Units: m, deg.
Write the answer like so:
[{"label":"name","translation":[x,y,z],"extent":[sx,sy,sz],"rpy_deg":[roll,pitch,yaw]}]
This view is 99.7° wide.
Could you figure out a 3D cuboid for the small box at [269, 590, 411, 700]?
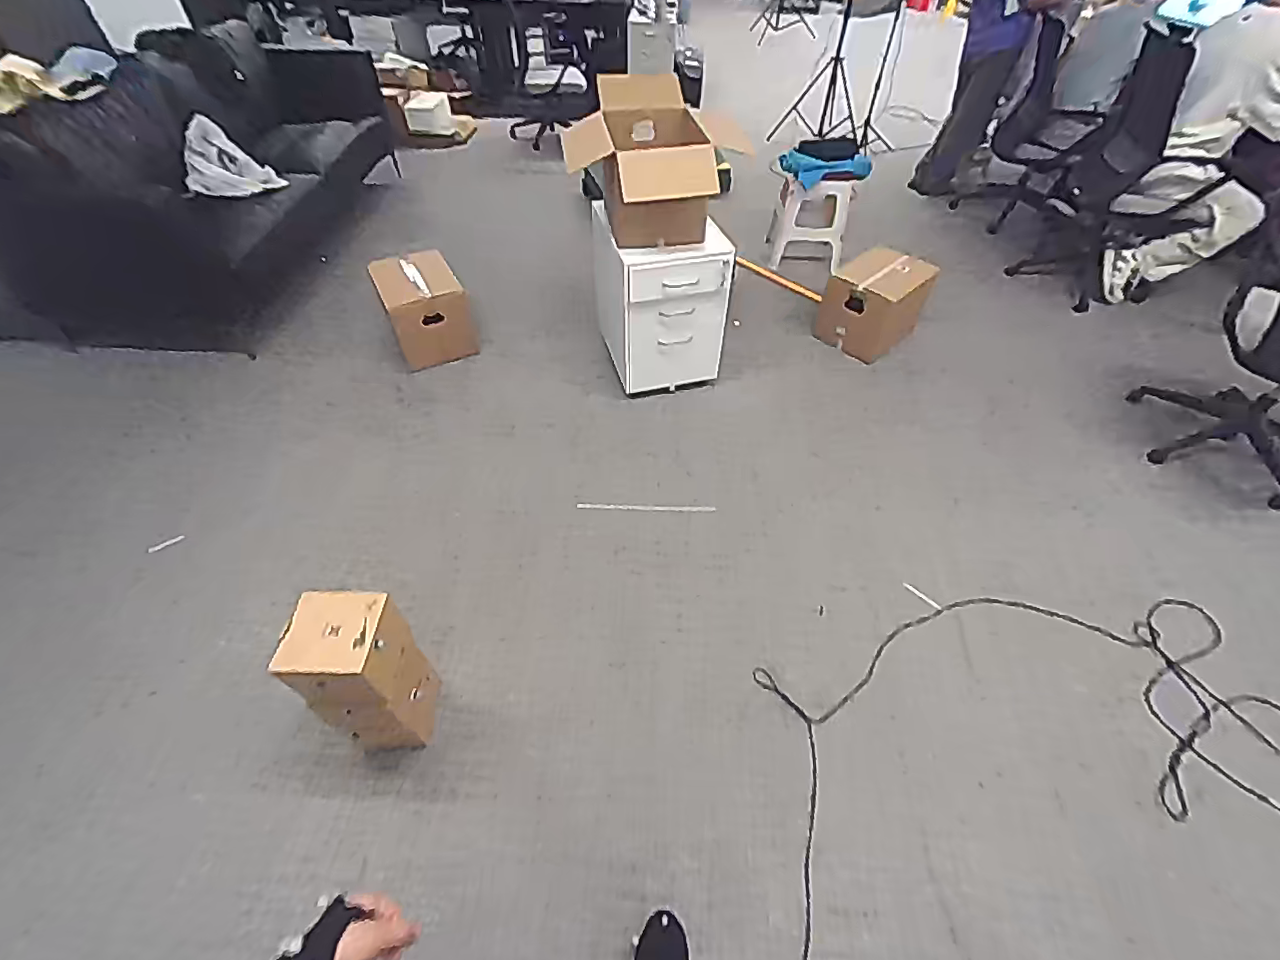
[{"label":"small box","translation":[-0.600,0.340,1.107],"extent":[0.179,0.176,0.168],"rpy_deg":[1,49,0]}]

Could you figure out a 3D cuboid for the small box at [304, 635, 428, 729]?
[{"label":"small box","translation":[-0.608,0.454,1.226],"extent":[0.179,0.176,0.168],"rpy_deg":[2,49,-1]}]
